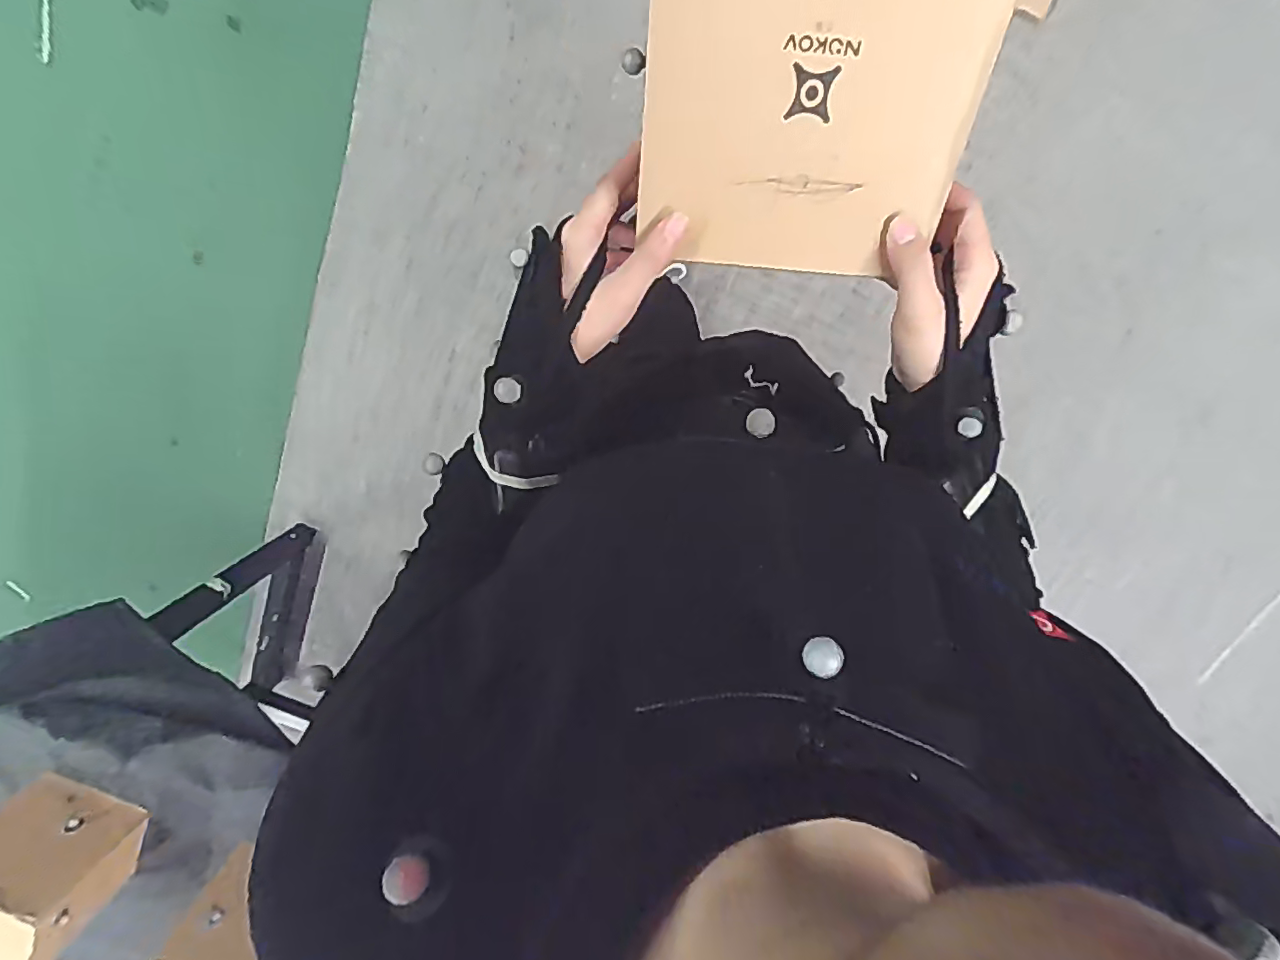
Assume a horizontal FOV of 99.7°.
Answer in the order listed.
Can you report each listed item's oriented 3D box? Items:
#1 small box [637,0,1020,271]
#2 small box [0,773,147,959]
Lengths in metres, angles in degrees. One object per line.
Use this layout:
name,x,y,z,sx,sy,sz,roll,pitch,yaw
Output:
small box,0.089,-0.243,0.325,0.168,0.176,0.179,6,125,0
small box,-0.888,0.583,0.800,0.168,0.176,0.179,27,109,-6
